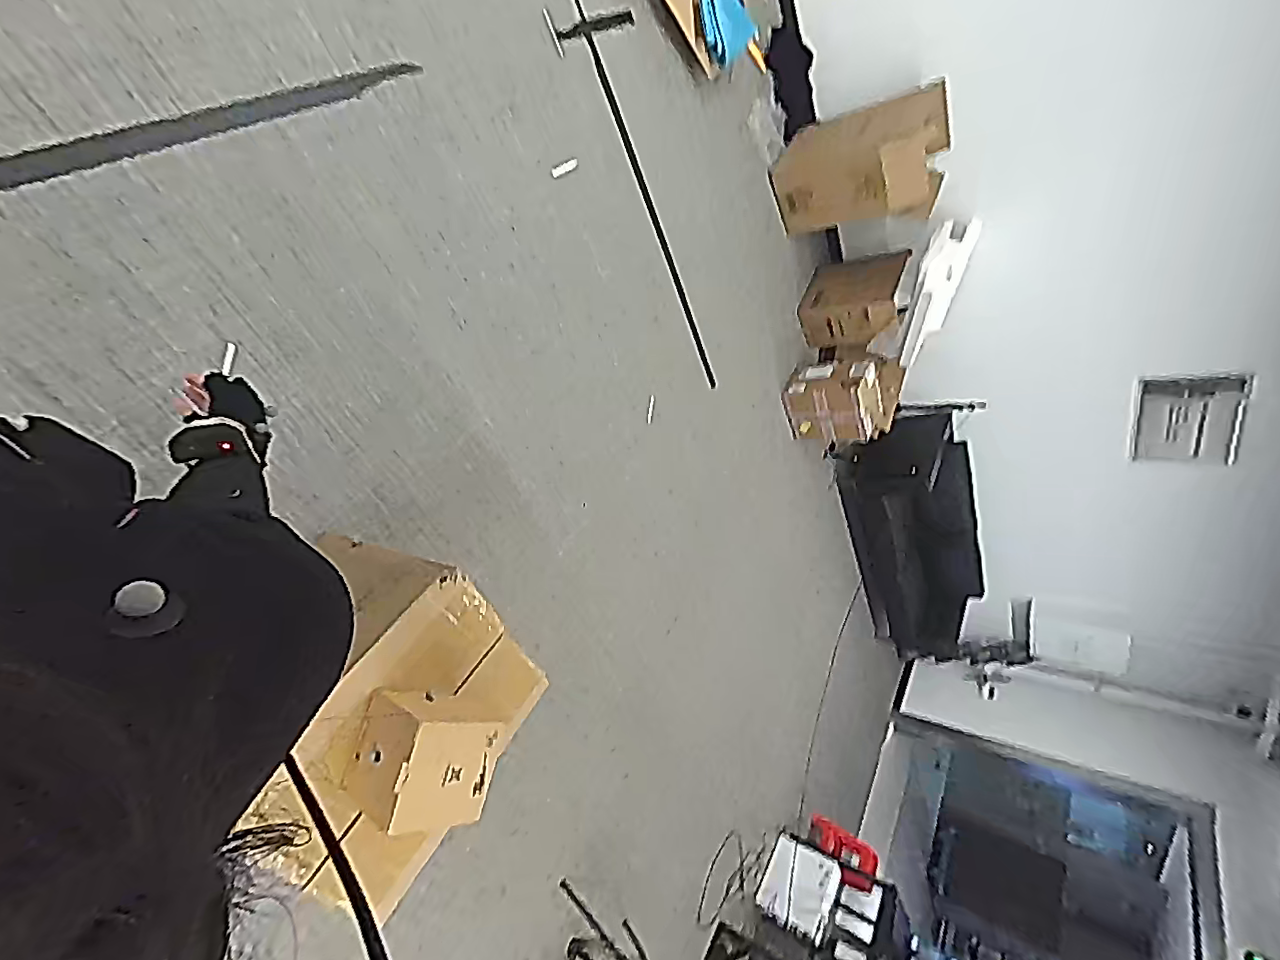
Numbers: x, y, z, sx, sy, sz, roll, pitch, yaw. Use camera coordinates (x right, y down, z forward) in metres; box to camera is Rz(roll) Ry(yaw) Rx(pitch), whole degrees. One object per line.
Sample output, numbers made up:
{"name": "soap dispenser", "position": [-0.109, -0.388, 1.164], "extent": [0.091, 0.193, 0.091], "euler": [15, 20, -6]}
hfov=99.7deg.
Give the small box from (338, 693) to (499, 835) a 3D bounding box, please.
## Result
{"name": "small box", "position": [-0.381, 0.476, 0.929], "extent": [0.179, 0.176, 0.168], "euler": [30, 70, -46]}
